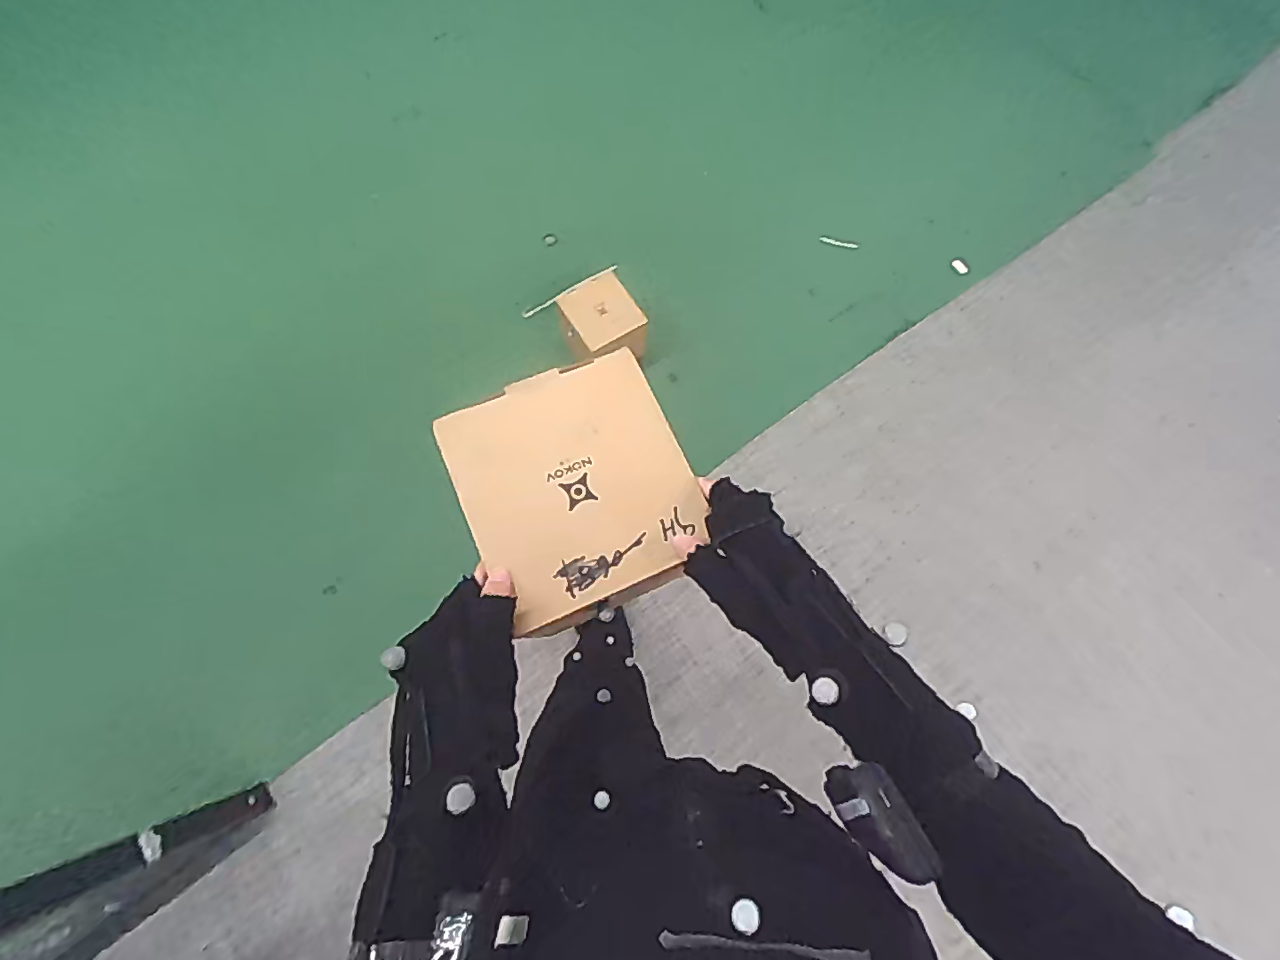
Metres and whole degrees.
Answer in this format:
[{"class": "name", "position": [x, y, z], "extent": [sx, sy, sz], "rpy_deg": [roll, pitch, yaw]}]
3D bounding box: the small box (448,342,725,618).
[{"class": "small box", "position": [-0.047, 0.013, 0.487], "extent": [0.168, 0.176, 0.179], "rpy_deg": [-22, 77, -8]}]

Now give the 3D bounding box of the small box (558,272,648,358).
[{"class": "small box", "position": [-0.098, -0.400, 1.420], "extent": [0.168, 0.176, 0.179], "rpy_deg": [-32, 79, -11]}]
